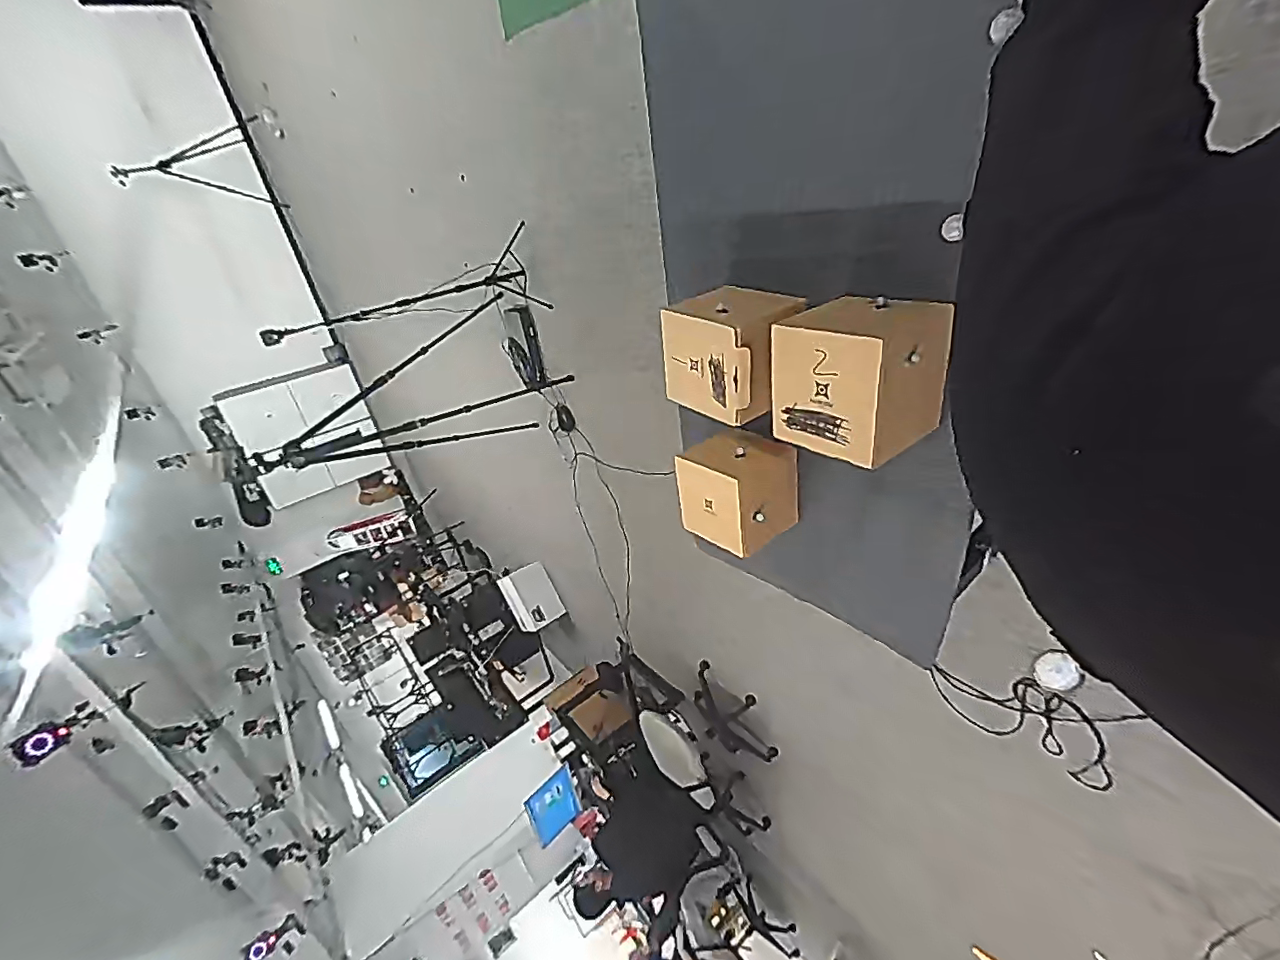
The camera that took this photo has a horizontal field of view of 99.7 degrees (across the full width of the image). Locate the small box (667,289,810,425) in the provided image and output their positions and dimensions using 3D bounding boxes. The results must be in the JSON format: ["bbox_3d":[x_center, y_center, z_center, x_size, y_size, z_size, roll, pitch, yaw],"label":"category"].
[{"bbox_3d":[0.169,-0.219,0.928,0.179,0.176,0.168,31,138,44],"label":"small box"}]
